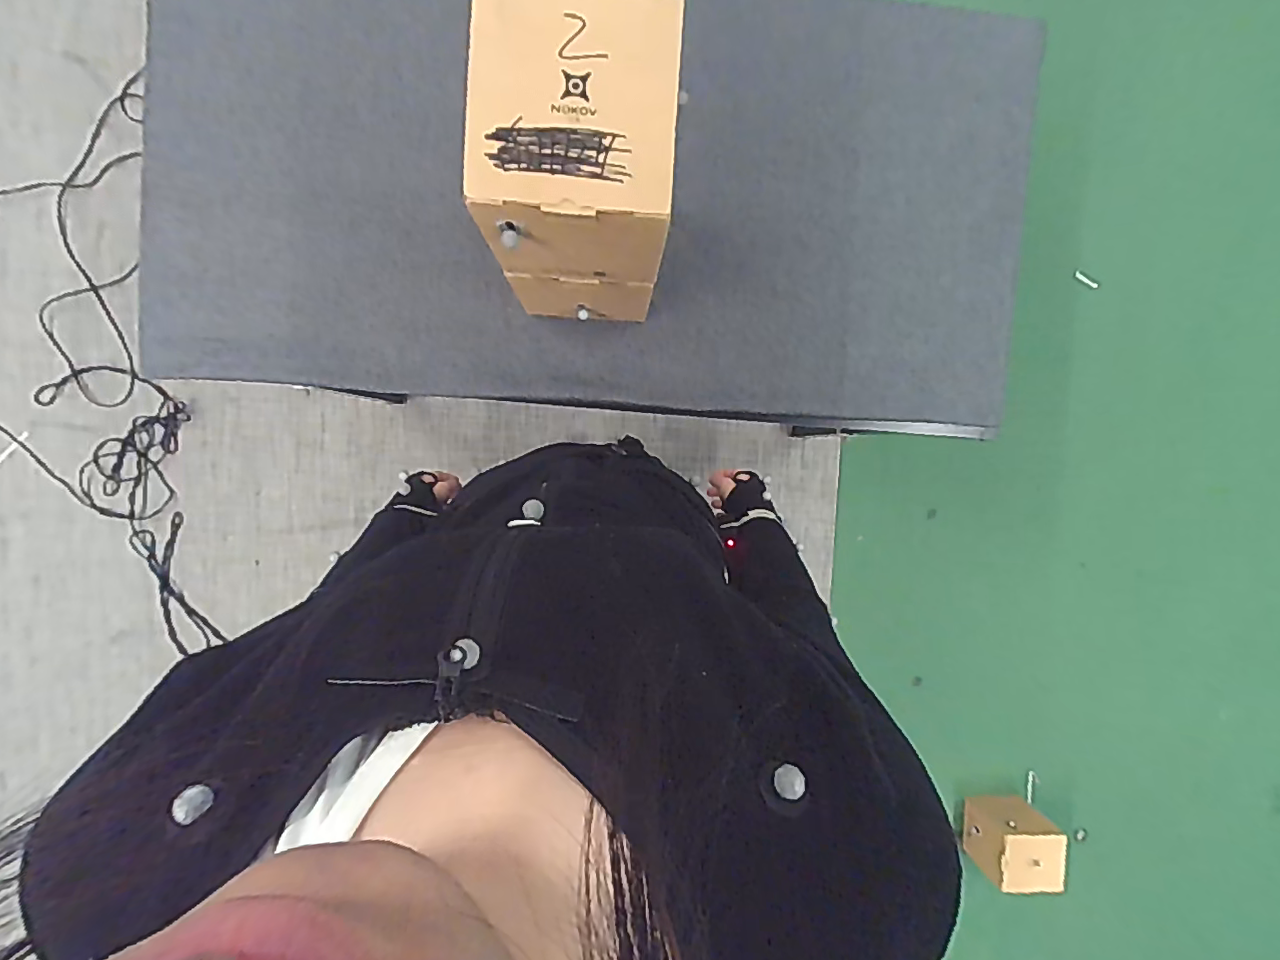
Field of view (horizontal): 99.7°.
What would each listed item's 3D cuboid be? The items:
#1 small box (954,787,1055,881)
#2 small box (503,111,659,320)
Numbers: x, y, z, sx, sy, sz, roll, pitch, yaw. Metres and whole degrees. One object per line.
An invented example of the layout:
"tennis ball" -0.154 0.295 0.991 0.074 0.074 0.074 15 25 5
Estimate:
"small box" 1.053 1.021 1.572 0.179 0.176 0.168 1 94 -4
"small box" -0.070 -0.312 0.672 0.168 0.176 0.179 3 93 -4
